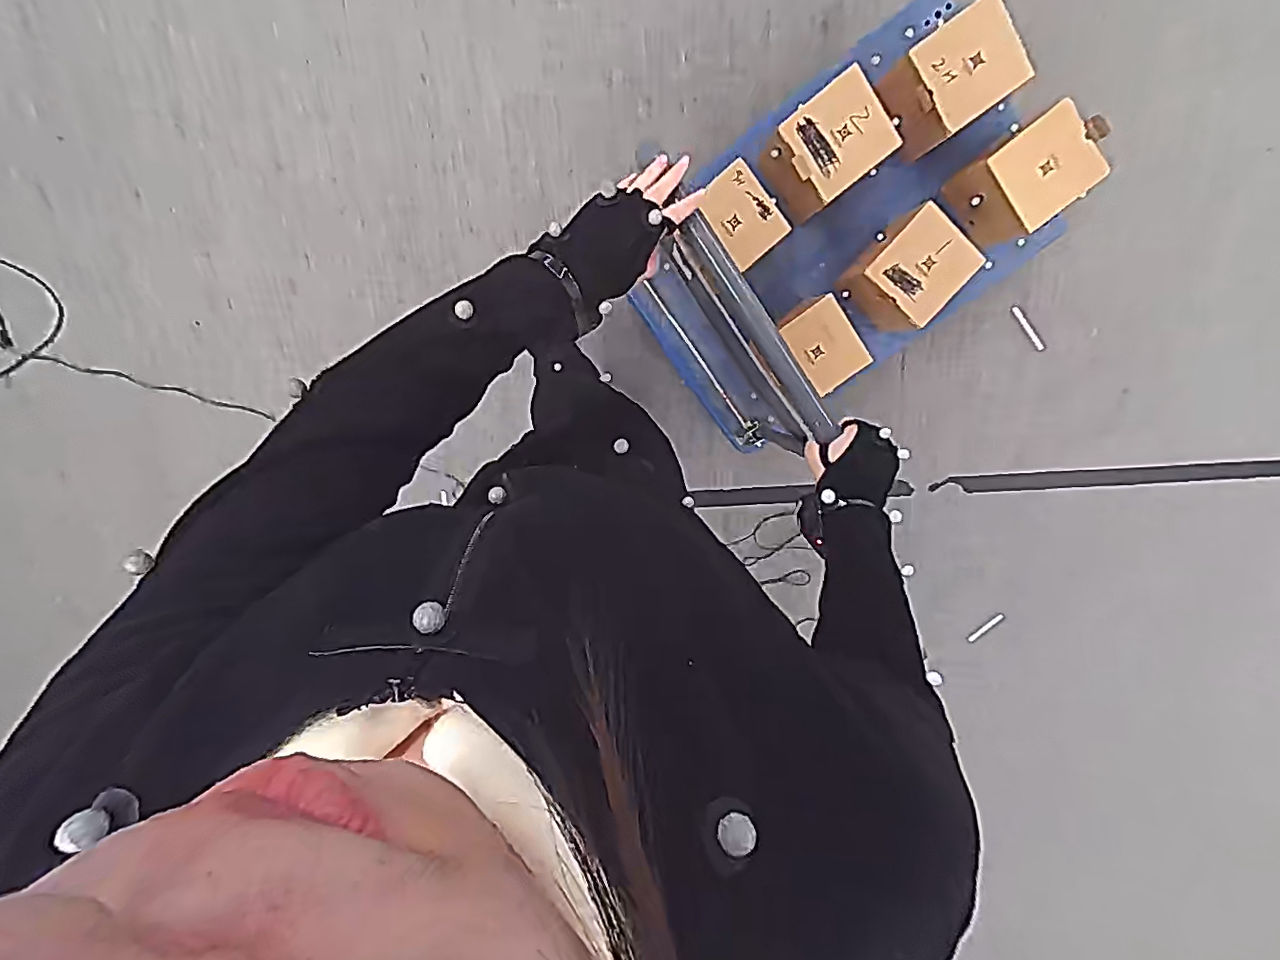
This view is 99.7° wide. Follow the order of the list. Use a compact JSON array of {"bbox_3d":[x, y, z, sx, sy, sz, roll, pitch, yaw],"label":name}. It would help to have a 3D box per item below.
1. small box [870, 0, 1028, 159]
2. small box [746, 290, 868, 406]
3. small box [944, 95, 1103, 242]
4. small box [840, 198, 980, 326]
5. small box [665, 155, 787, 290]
[{"bbox_3d":[0.588,-0.772,1.049,0.179,0.176,0.168,-34,102,8],"label":"small box"},{"bbox_3d":[0.347,-0.282,1.167,0.179,0.176,0.168,-35,102,7],"label":"small box"},{"bbox_3d":[0.755,-0.612,1.092,0.179,0.176,0.168,-39,101,8],"label":"small box"},{"bbox_3d":[0.546,-0.441,1.130,0.168,0.176,0.179,41,99,-10],"label":"small box"},{"bbox_3d":[0.166,-0.511,1.106,0.179,0.176,0.168,-39,102,8],"label":"small box"}]
